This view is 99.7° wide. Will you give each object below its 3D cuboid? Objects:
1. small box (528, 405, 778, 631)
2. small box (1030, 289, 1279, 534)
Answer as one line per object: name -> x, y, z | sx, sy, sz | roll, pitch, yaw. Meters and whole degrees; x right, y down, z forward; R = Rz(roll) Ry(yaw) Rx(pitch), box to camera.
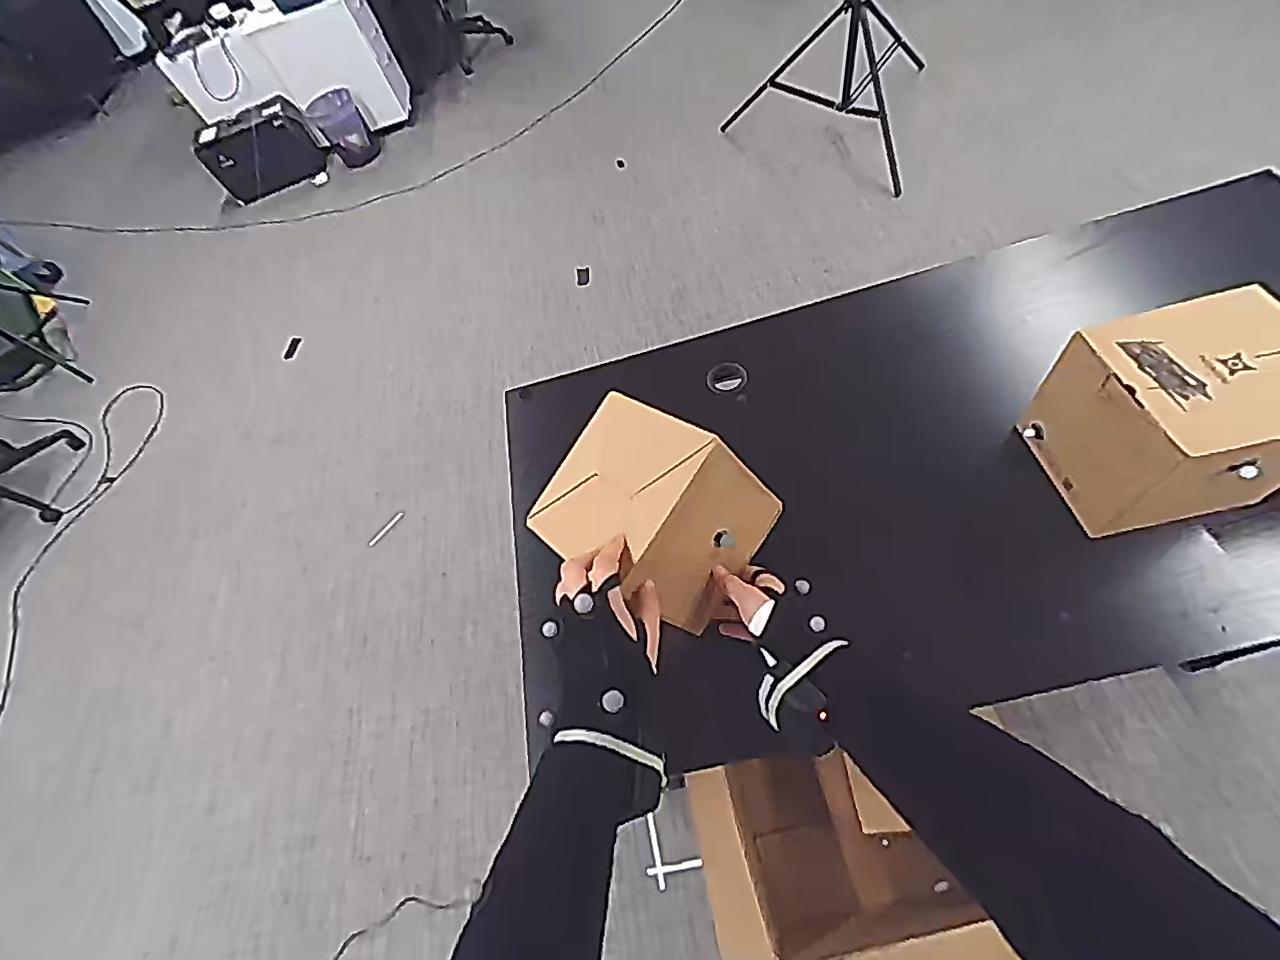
small box -> 0.015, 0.036, 0.591 | 0.168, 0.176, 0.179 | 31, 87, 44
small box -> 0.551, -0.060, 0.564 | 0.179, 0.176, 0.168 | -13, 58, 5
